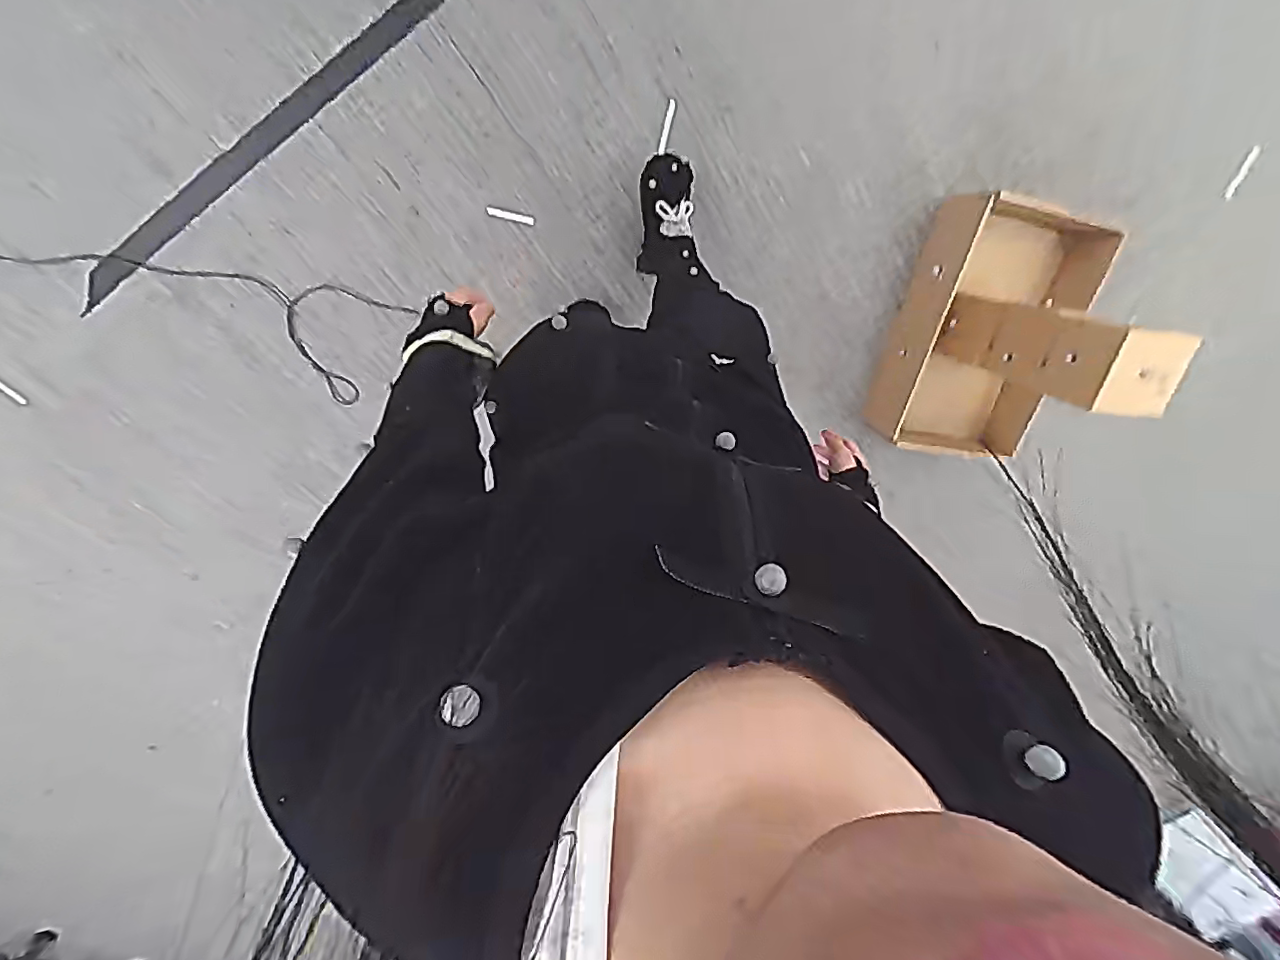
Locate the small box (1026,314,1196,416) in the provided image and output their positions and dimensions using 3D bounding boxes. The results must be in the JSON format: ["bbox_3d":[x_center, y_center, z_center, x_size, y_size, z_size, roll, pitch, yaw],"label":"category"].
[{"bbox_3d":[0.964,-0.245,1.128,0.179,0.176,0.168,2,117,-11],"label":"small box"}]

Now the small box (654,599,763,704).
[{"bbox_3d":[0.139,0.381,1.177,0.168,0.176,0.179,11,113,-14],"label":"small box"}]

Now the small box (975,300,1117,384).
[{"bbox_3d":[0.941,-0.323,1.273,0.179,0.176,0.168,1,117,-12],"label":"small box"}]

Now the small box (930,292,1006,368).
[{"bbox_3d":[0.912,-0.388,1.418,0.179,0.176,0.168,7,115,-13],"label":"small box"}]
